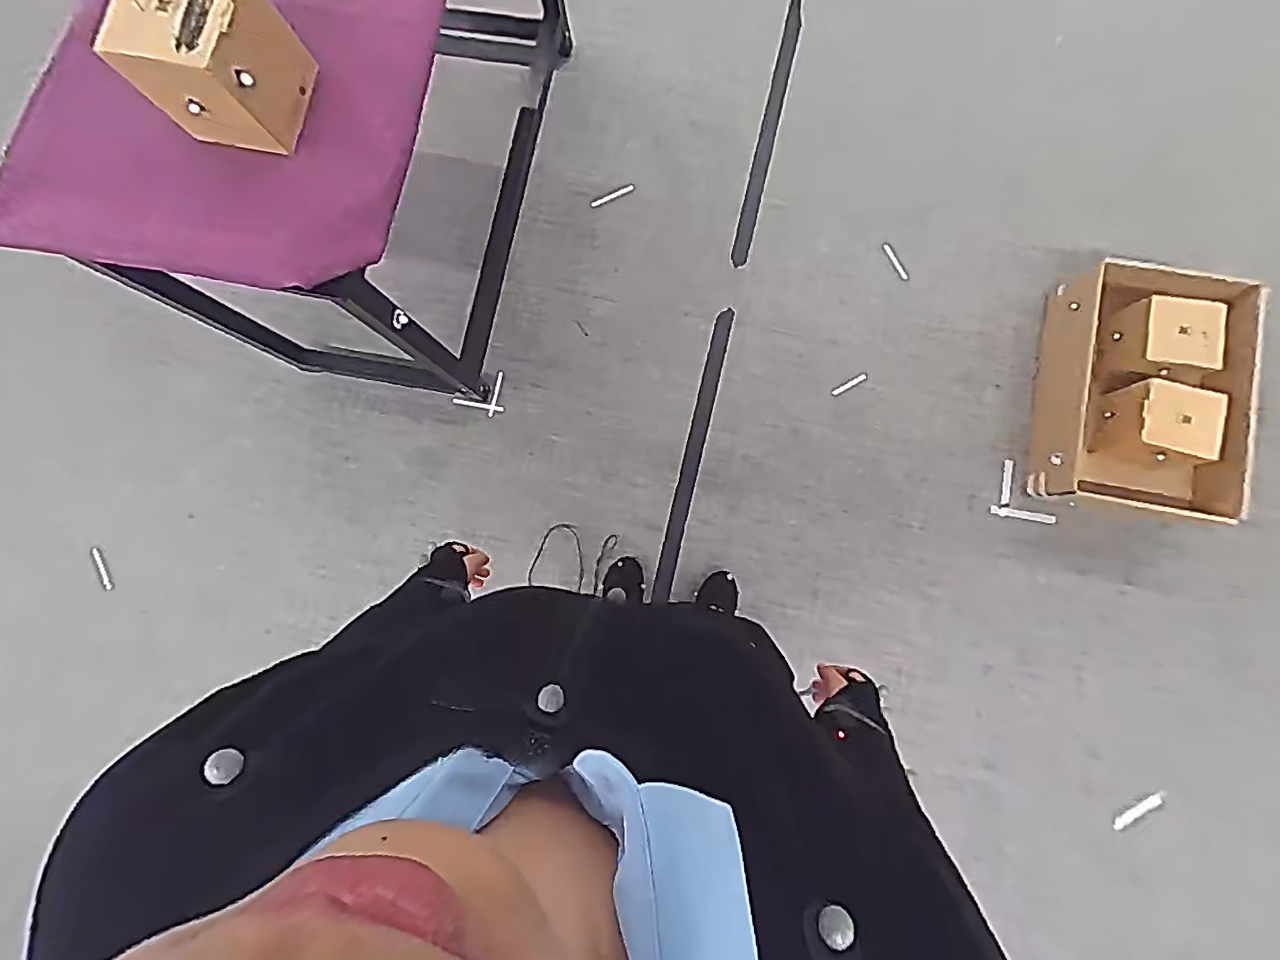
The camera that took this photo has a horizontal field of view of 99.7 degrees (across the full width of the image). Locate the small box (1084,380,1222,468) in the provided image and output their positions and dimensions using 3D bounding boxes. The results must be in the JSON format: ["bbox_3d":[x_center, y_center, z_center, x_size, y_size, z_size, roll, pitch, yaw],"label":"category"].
[{"bbox_3d":[1.294,-0.134,1.373,0.179,0.176,0.168,16,84,5],"label":"small box"}]

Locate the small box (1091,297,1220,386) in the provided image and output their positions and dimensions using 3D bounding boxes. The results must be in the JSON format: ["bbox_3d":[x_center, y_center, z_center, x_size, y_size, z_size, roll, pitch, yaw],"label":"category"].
[{"bbox_3d":[1.318,-0.349,1.394,0.179,0.176,0.168,9,86,4],"label":"small box"}]
